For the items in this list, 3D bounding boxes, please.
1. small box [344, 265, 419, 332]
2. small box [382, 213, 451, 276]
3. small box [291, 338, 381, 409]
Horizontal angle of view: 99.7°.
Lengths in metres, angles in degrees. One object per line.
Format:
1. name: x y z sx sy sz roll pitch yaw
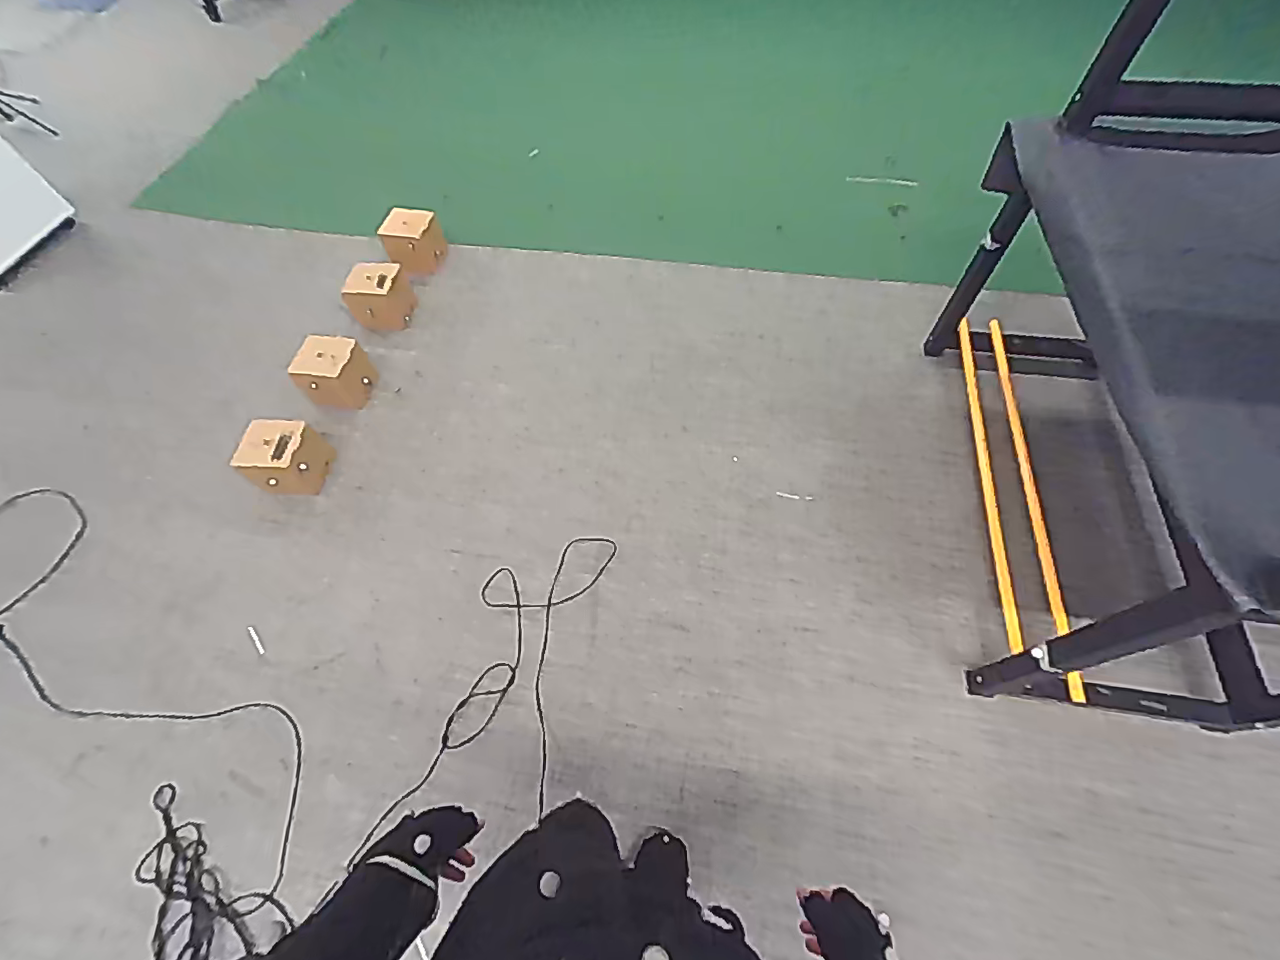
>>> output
1. small box: -0.953 -0.673 2.015 0.179 0.176 0.168 4 59 5
2. small box: -0.896 -0.947 2.178 0.179 0.176 0.168 9 61 7
3. small box: -1.018 -0.356 1.826 0.179 0.176 0.168 7 61 5
